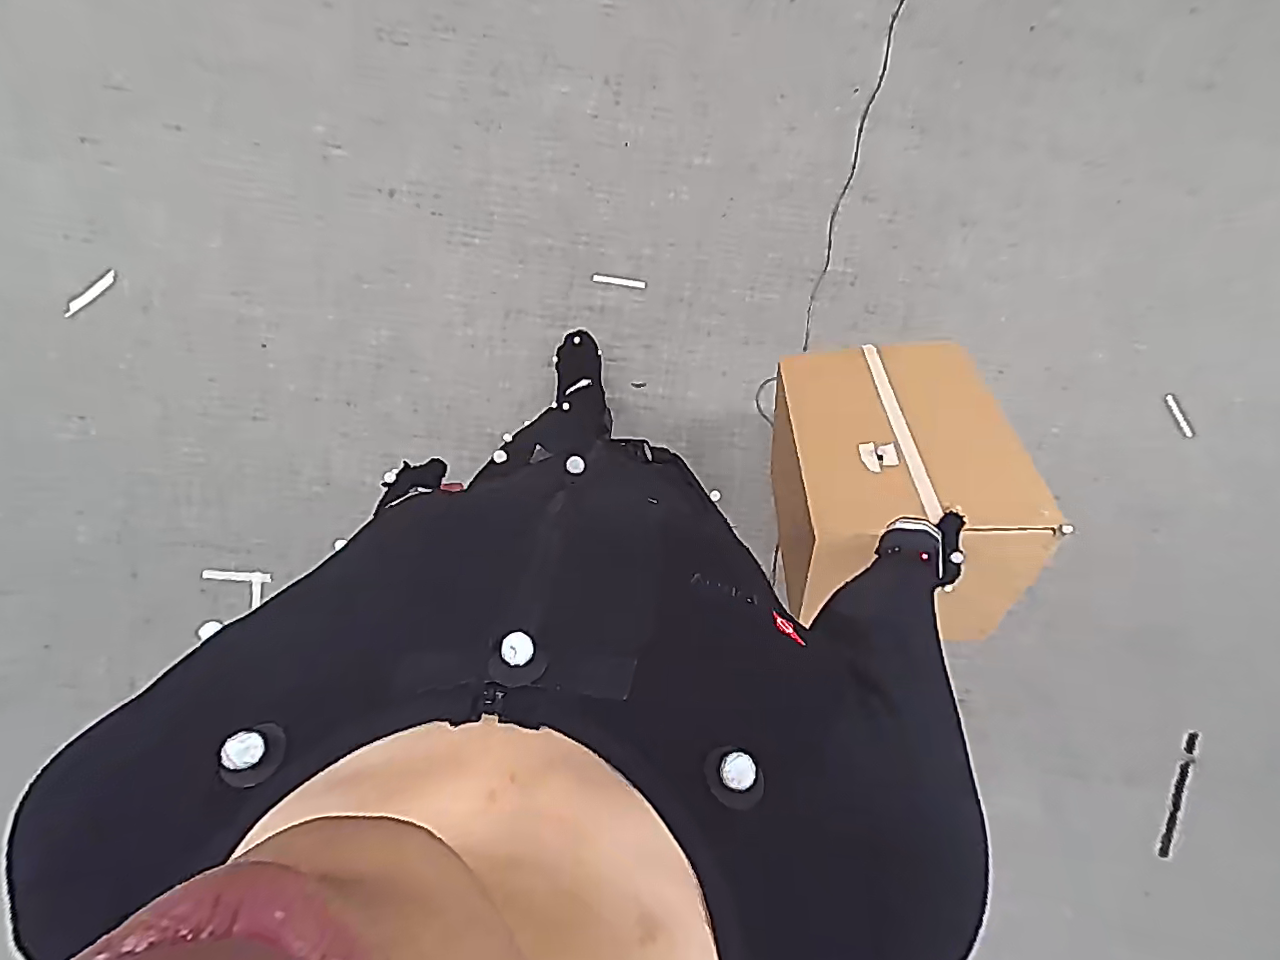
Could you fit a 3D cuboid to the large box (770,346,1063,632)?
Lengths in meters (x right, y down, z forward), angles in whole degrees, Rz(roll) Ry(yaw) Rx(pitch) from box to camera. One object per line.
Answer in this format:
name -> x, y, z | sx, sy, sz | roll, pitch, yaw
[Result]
large box -> 0.419, 0.017, 0.954 | 0.320, 0.408, 0.320 | -3, 140, 7
